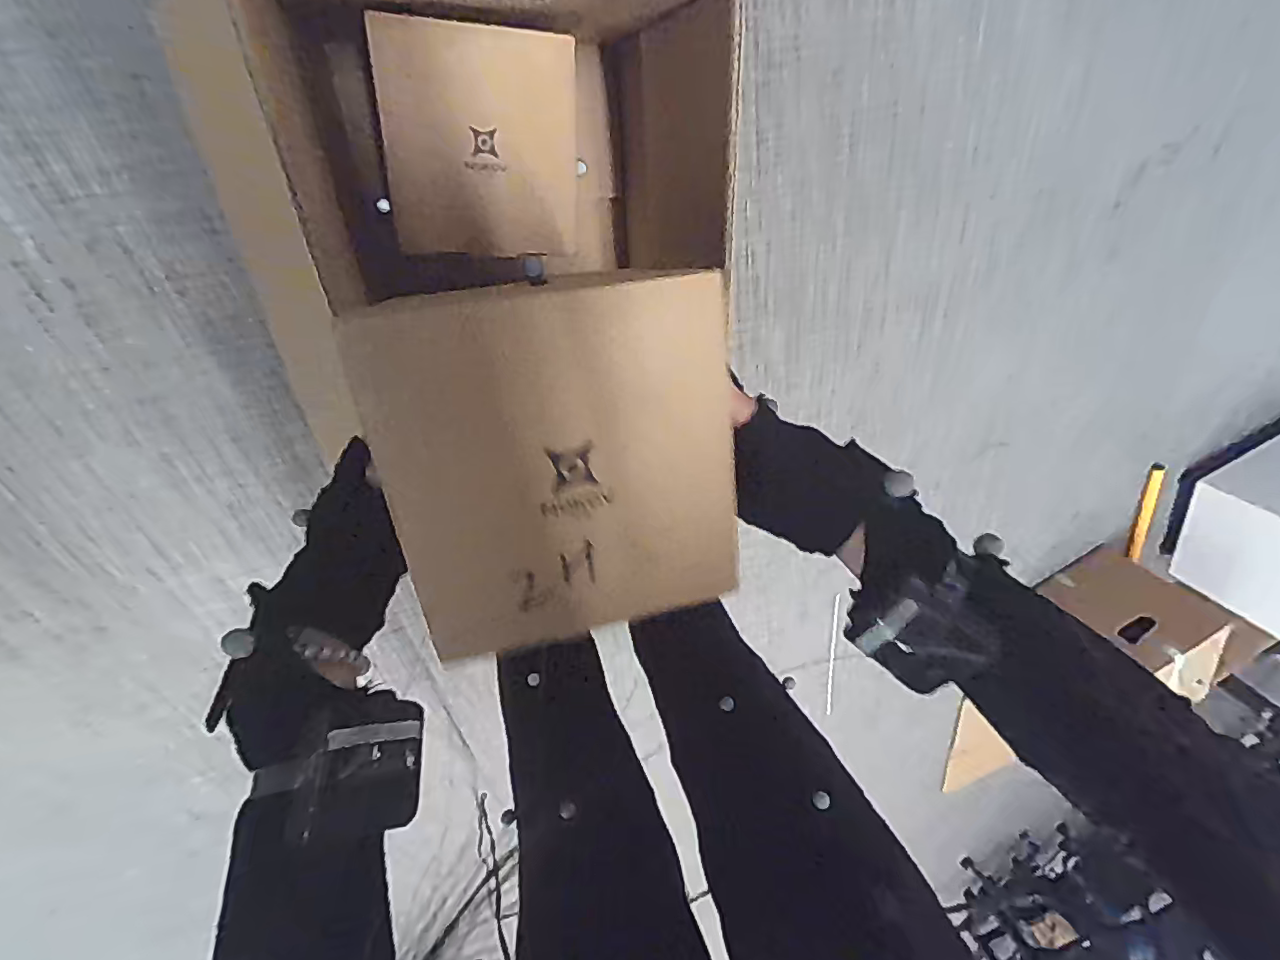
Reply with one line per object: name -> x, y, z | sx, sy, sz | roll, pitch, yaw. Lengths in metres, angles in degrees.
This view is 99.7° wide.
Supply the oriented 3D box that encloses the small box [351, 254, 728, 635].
small box -> -0.054, -0.038, 0.340 | 0.168, 0.176, 0.179 | -10, 113, -10
